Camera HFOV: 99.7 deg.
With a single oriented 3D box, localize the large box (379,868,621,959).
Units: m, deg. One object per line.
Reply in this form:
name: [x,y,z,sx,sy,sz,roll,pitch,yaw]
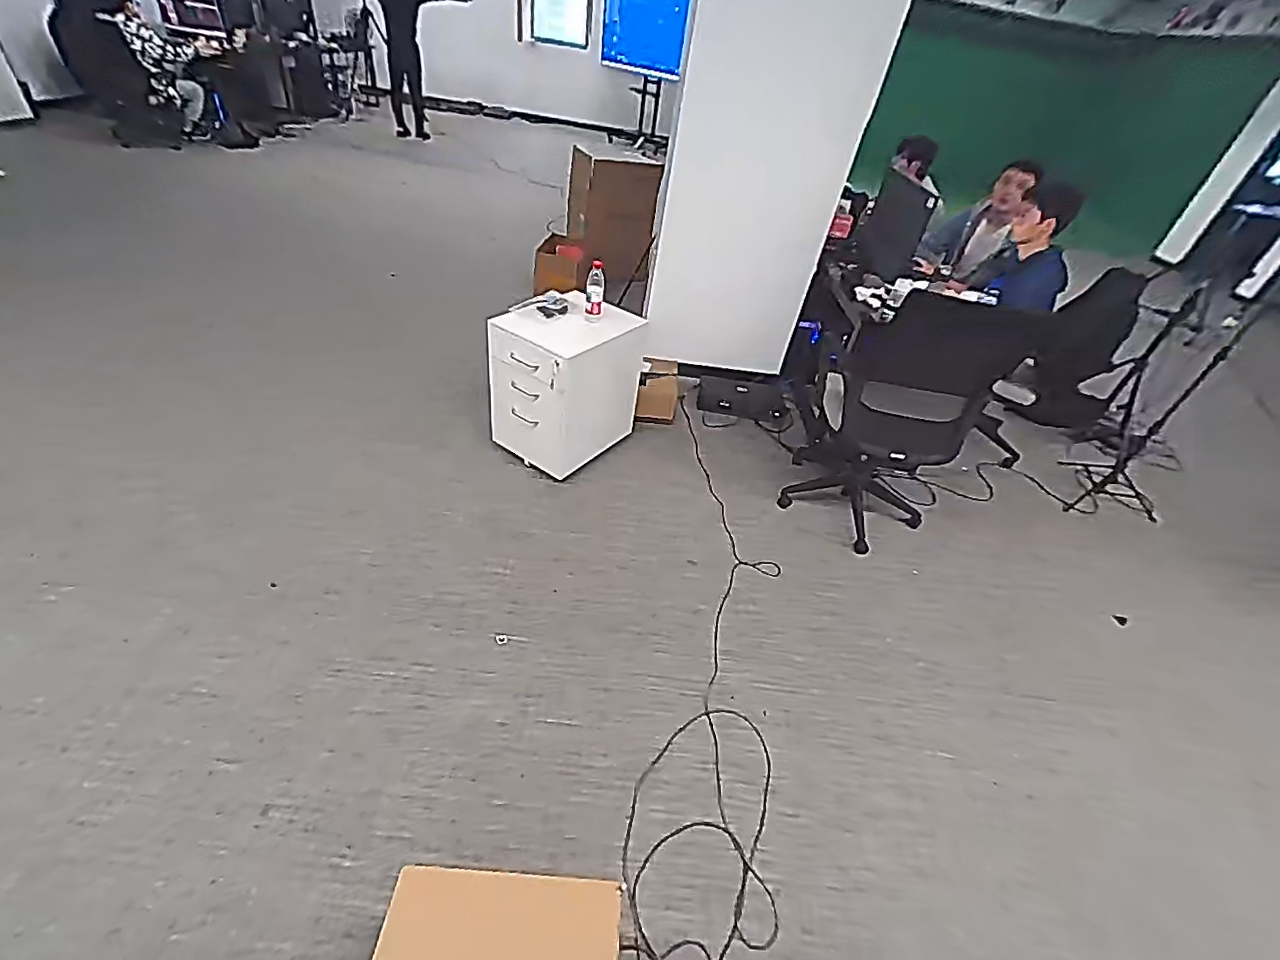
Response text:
large box: [-0.256,0.944,0.972,0.408,0.320,0.320,7,39,-3]
